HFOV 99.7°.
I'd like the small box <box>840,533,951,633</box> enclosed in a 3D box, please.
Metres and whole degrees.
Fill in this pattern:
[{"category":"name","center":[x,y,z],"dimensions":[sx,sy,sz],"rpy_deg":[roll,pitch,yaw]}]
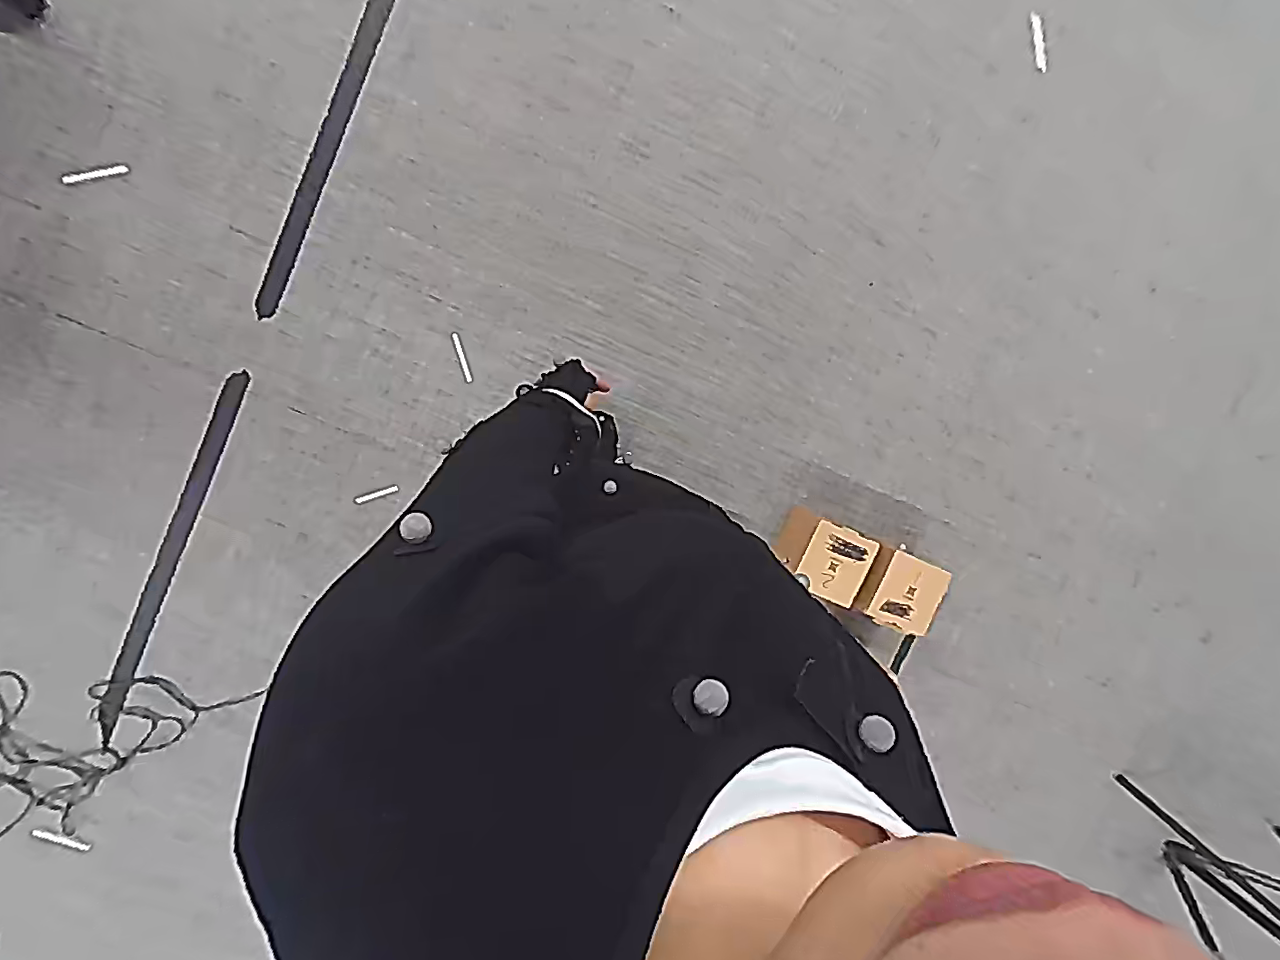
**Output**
[{"category":"small box","center":[0.645,0.258,1.393],"dimensions":[0.168,0.176,0.179],"rpy_deg":[24,95,-7]}]

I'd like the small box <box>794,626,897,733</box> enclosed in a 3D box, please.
[{"category":"small box","center":[0.528,0.516,1.421],"dimensions":[0.168,0.176,0.179],"rpy_deg":[25,95,-7]}]
